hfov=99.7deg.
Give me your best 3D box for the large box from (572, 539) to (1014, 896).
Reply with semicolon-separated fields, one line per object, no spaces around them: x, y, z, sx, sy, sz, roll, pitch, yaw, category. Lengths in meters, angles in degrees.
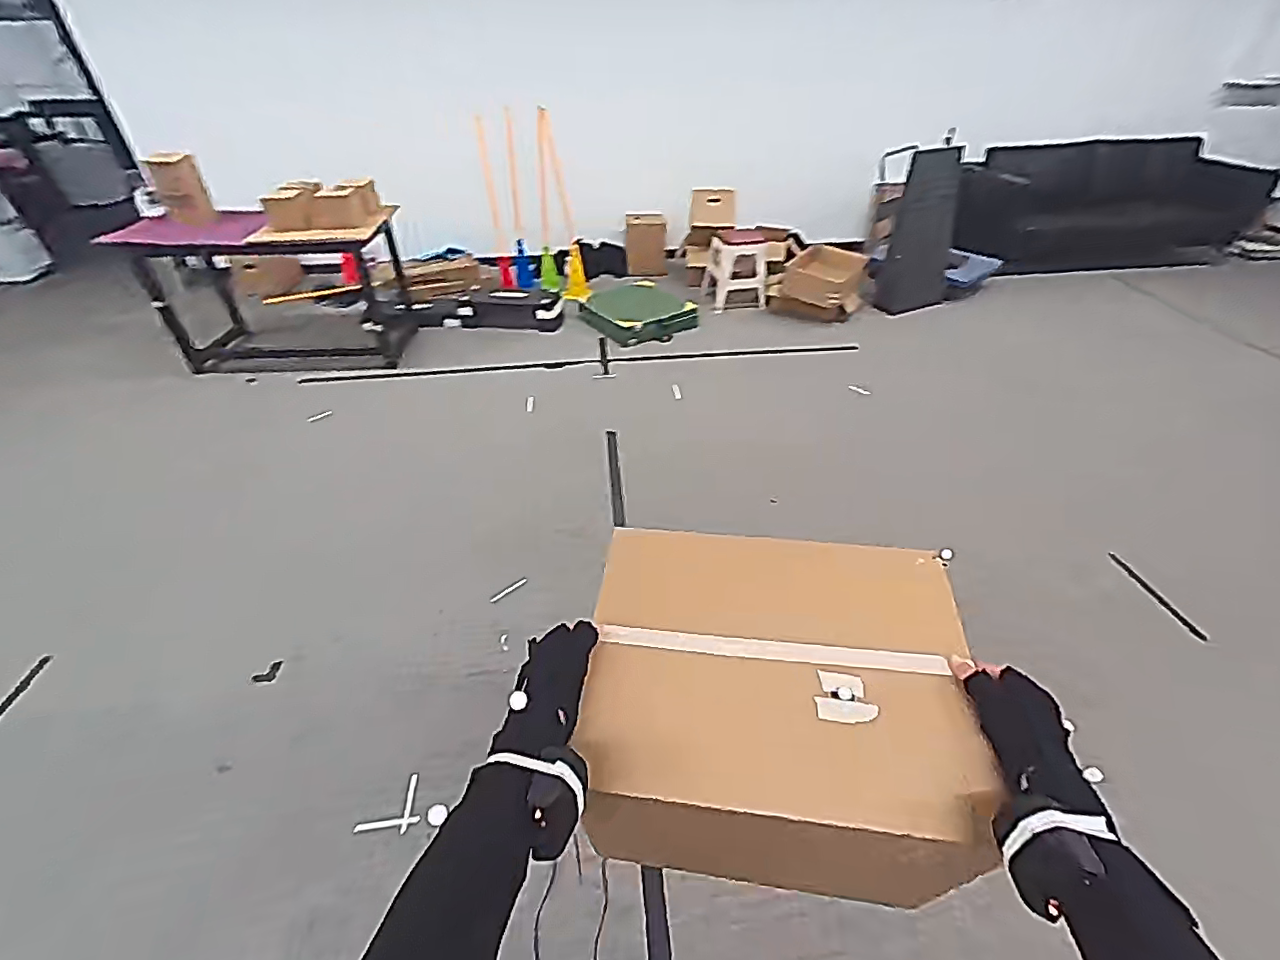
0.153;0.299;0.698;0.408;0.320;0.320;3;46;7;large box
